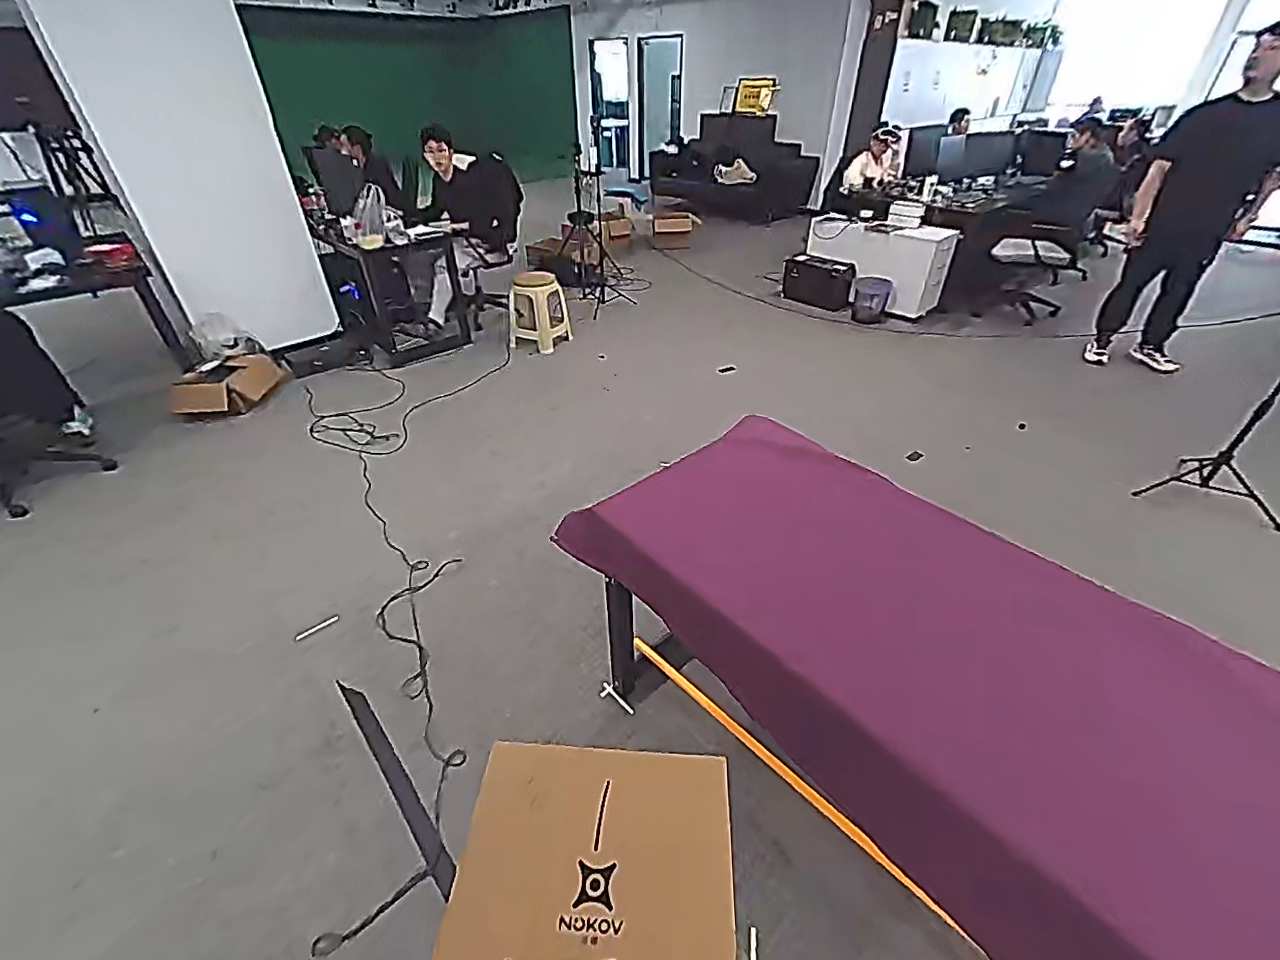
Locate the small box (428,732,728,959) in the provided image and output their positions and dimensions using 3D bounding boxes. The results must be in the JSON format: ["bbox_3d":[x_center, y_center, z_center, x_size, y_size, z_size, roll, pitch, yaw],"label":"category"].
[{"bbox_3d":[-0.030,0.300,0.368,0.168,0.176,0.179,3,40,3],"label":"small box"}]
